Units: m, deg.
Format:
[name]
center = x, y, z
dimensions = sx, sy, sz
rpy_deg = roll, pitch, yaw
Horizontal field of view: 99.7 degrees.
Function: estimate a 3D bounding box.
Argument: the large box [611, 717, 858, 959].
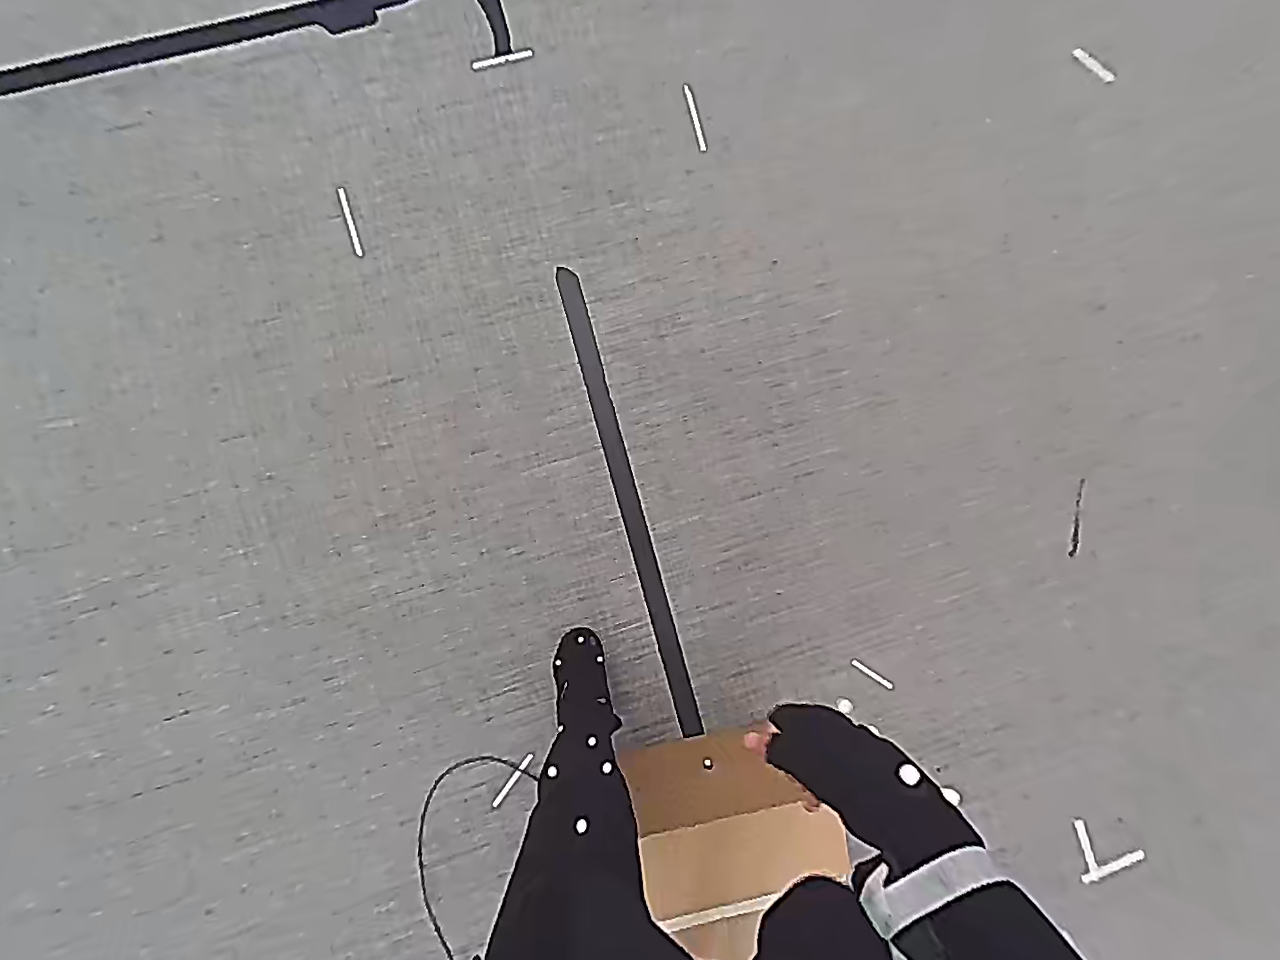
[large box]
center = 0.167, 0.735, 1.104
dimensions = 0.408, 0.320, 0.320
rpy_deg = -9, 91, -6
